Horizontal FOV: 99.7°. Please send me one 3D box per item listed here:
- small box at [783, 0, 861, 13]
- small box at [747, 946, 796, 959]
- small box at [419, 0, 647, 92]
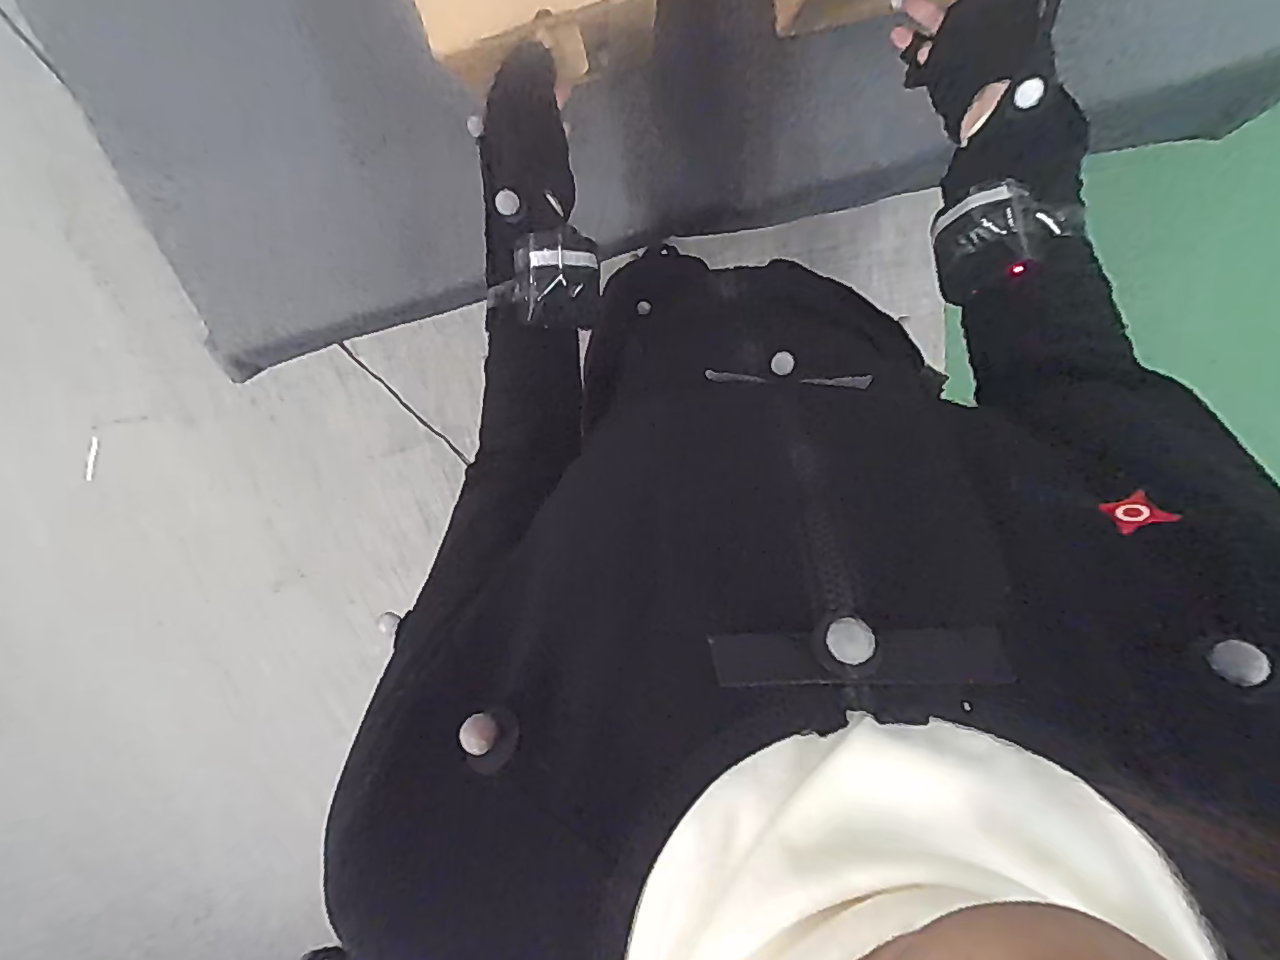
[{"bbox_3d":[0.193,-0.485,0.399,0.168,0.176,0.179,-10,114,3],"label":"small box"},{"bbox_3d":[0.477,1.792,1.905,0.179,0.176,0.168,-8,111,2],"label":"small box"},{"bbox_3d":[-0.090,-0.432,0.418,0.168,0.176,0.179,-15,112,3],"label":"small box"}]
